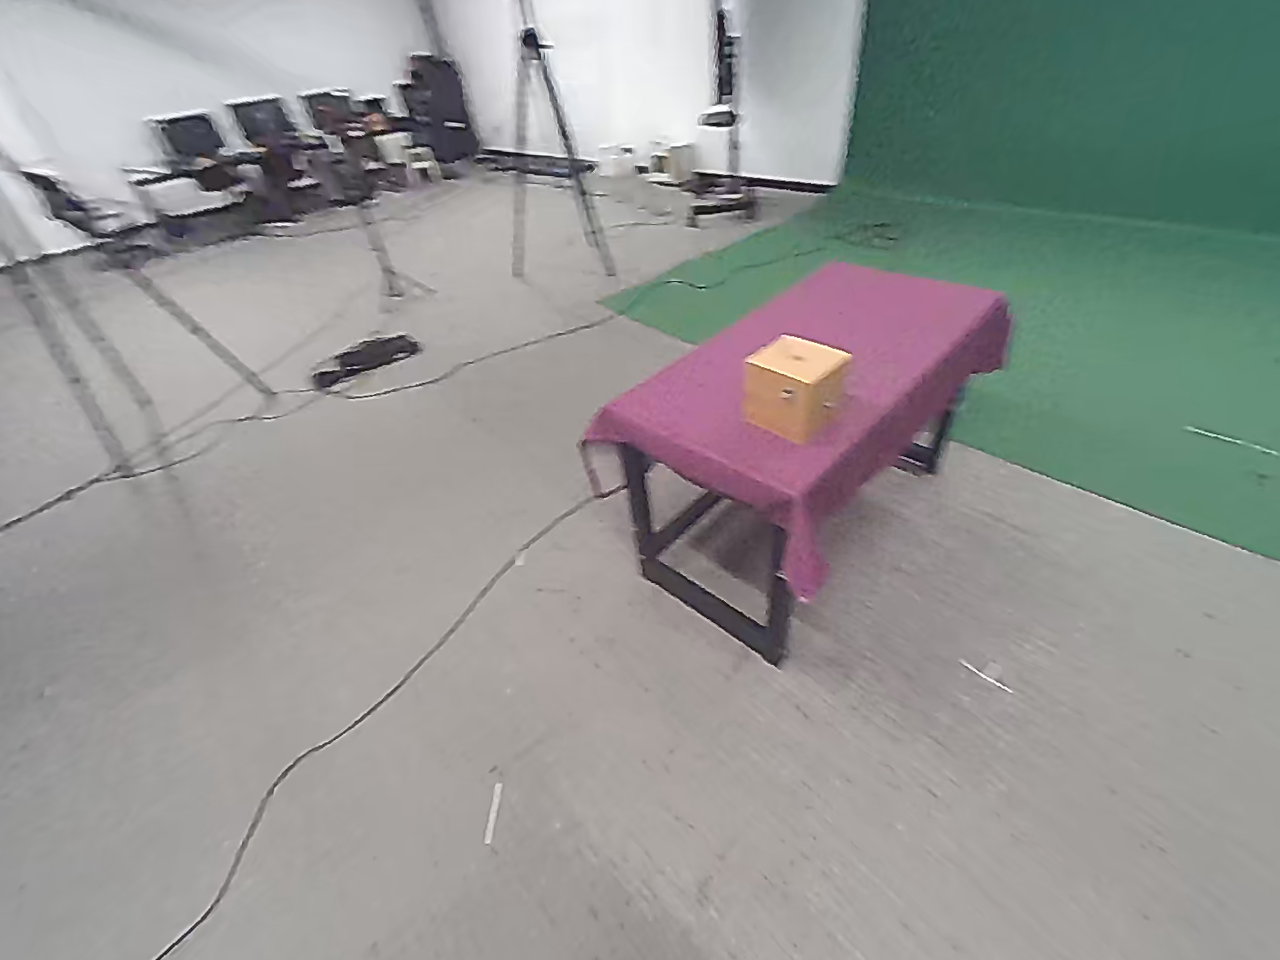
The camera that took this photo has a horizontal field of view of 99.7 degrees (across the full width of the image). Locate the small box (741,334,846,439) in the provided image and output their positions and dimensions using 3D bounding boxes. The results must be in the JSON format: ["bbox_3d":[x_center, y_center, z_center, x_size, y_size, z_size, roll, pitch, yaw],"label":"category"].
[{"bbox_3d":[0.358,-0.219,1.281,0.168,0.176,0.179,-34,47,-28],"label":"small box"}]
